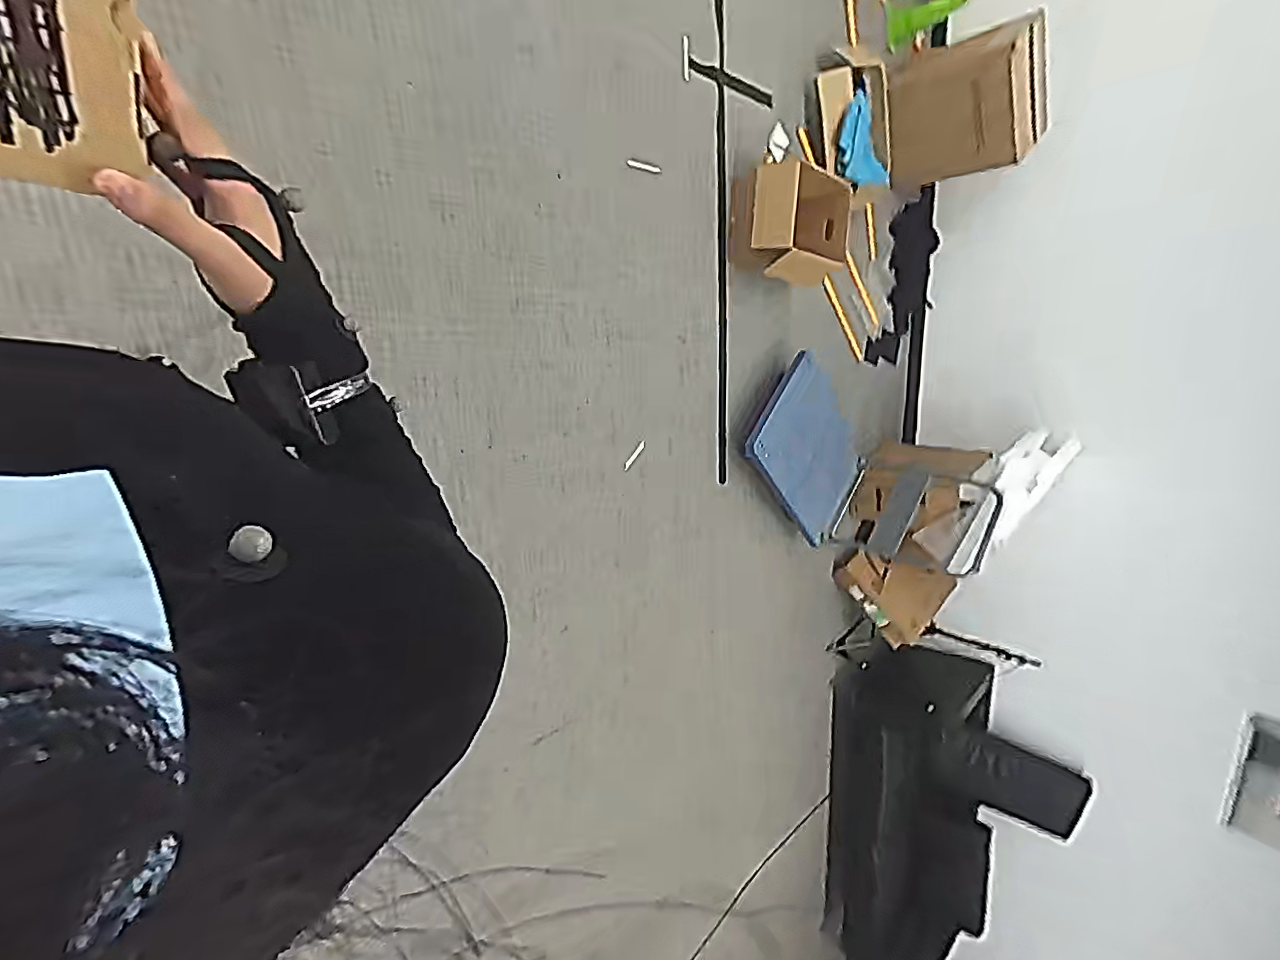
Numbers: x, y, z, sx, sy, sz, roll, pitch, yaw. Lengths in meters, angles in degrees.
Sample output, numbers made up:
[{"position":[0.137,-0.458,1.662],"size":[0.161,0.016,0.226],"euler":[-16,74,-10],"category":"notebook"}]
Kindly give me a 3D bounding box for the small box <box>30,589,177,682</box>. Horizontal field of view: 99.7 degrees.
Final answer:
[{"position":[-1.052,0.331,1.069],"size":[0.168,0.176,0.179],"euler":[-18,112,-39],"category":"small box"}]

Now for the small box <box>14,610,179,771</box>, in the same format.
[{"position":[-0.941,0.357,0.952],"size":[0.168,0.176,0.179],"euler":[-17,109,-40],"category":"small box"}]
